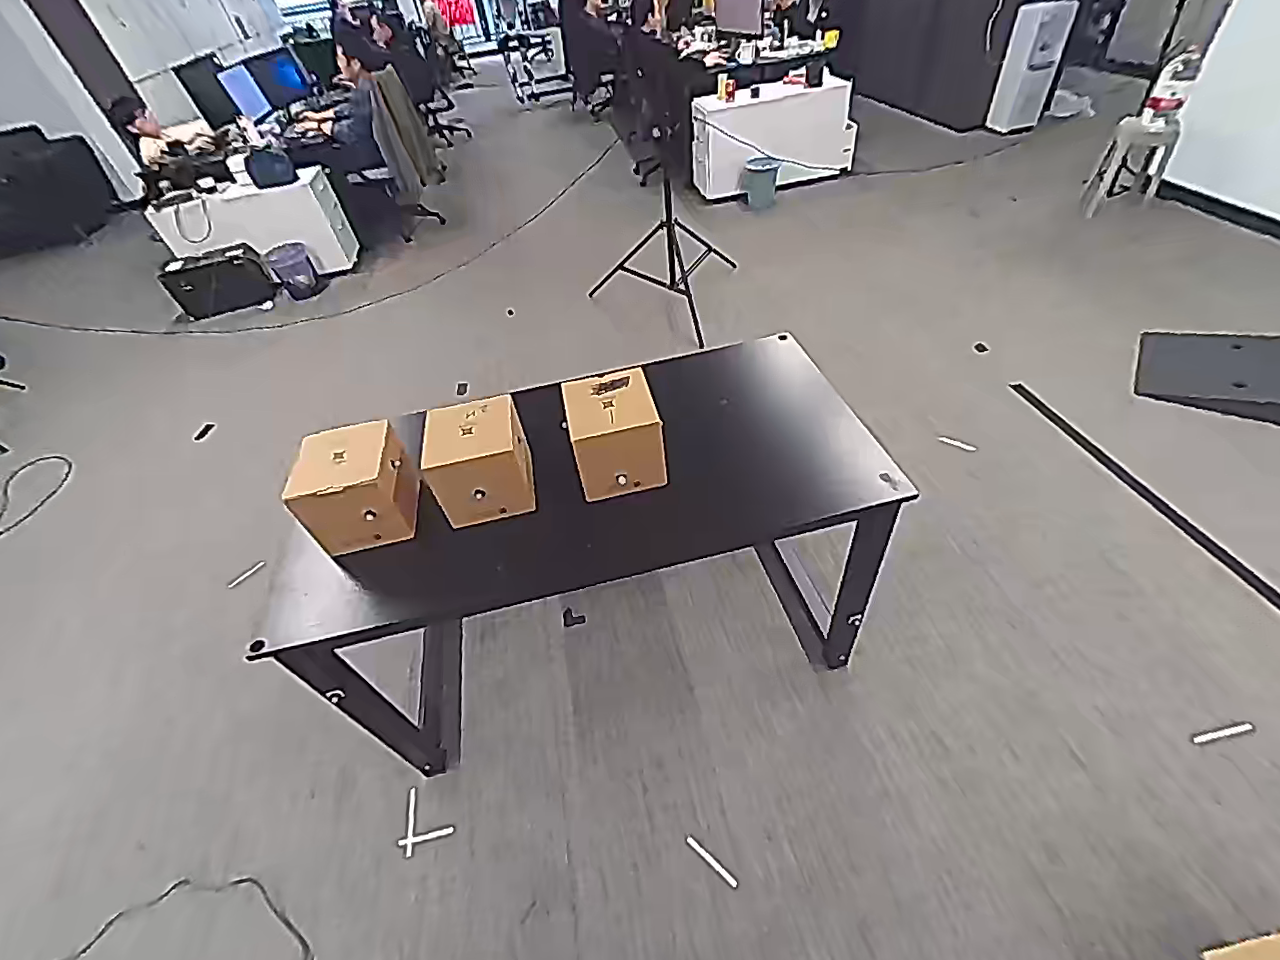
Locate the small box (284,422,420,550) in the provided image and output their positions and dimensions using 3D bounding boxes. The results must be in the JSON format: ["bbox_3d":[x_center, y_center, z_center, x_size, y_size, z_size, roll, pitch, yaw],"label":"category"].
[{"bbox_3d":[-0.543,0.018,1.051,0.168,0.176,0.179,-13,44,-5],"label":"small box"}]

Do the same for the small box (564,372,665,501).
[{"bbox_3d":[-0.050,-0.086,1.074,0.168,0.176,0.179,-13,46,-3],"label":"small box"}]

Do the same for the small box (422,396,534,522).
[{"bbox_3d":[-0.310,-0.035,1.064,0.168,0.176,0.179,-12,45,-4],"label":"small box"}]
